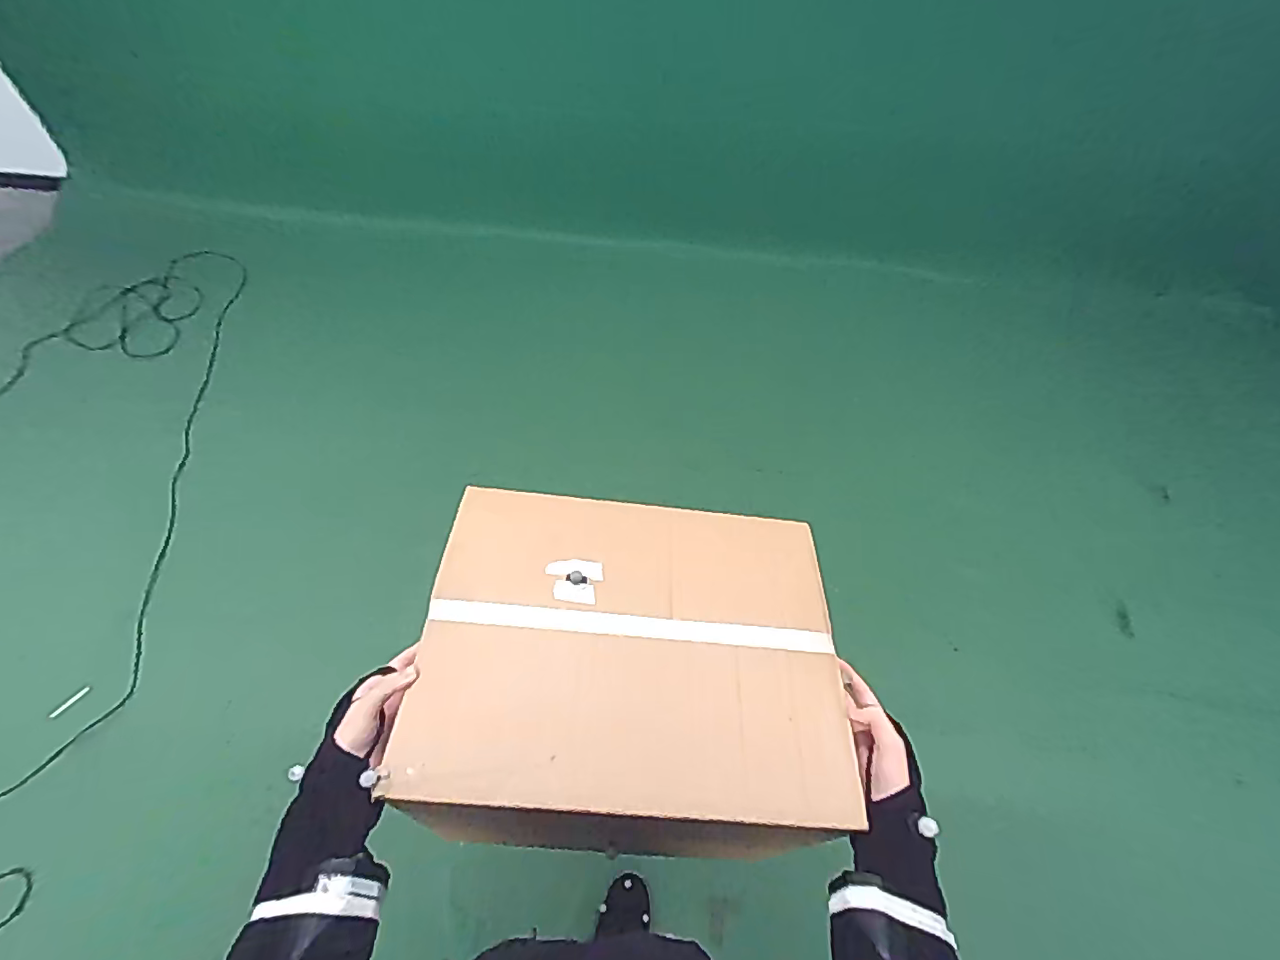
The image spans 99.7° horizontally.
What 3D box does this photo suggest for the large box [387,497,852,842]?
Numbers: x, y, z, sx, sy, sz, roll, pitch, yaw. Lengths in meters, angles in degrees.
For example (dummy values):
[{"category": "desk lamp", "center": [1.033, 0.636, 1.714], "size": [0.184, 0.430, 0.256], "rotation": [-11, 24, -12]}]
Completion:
[{"category": "large box", "center": [-0.021, 0.245, 0.663], "size": [0.408, 0.320, 0.320], "rotation": [5, 50, -3]}]
